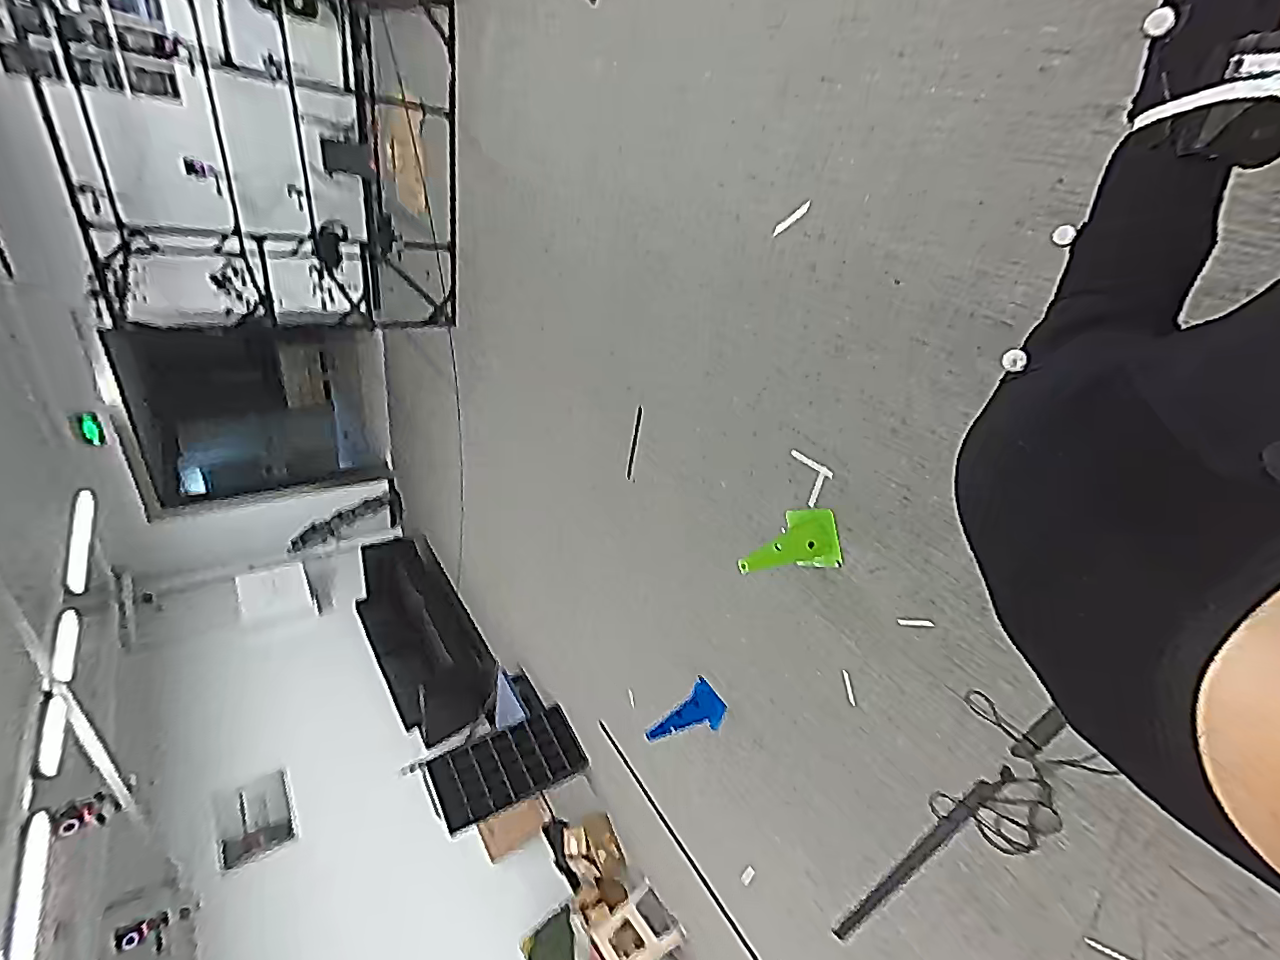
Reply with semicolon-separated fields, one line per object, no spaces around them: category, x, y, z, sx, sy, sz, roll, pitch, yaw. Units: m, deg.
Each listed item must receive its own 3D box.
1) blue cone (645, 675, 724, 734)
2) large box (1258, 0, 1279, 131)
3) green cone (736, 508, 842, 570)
blue cone;0.190;1.076;2.478;0.192;0.380;0.193;47;135;38
large box;0.639;-0.384;0.250;0.408;0.320;0.320;21;118;49
green cone;0.463;0.226;1.781;0.202;0.368;0.200;-9;92;57
